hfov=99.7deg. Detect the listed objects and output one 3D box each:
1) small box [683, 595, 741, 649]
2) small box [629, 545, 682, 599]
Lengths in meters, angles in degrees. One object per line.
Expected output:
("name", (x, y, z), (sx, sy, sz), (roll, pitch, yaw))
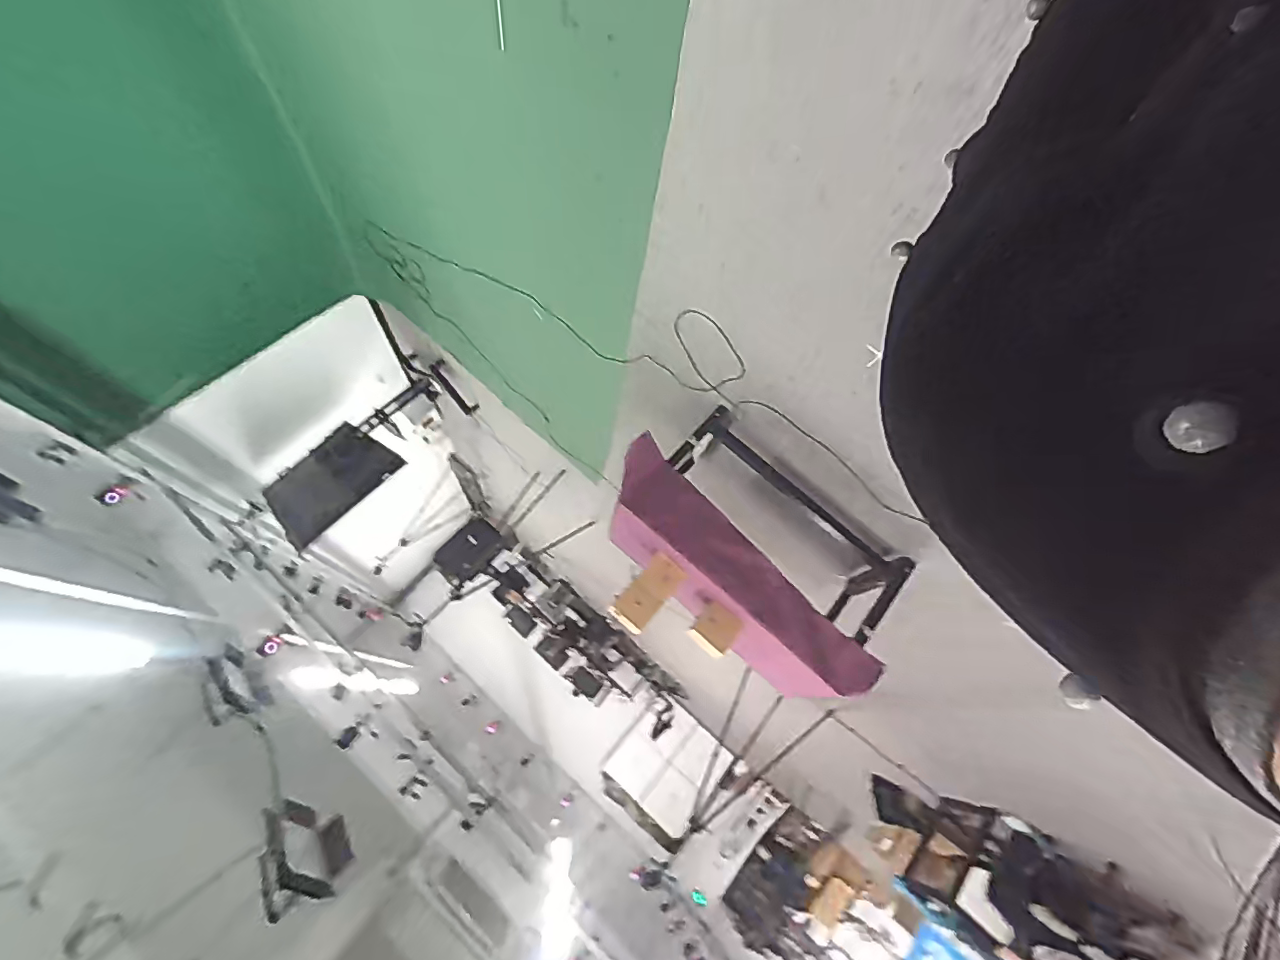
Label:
("small box", (0.325, 0.639, 2.448), (0.179, 0.176, 0.168), (41, 159, 7))
("small box", (0.074, 0.421, 2.486), (0.168, 0.176, 0.179), (41, 159, 6))
